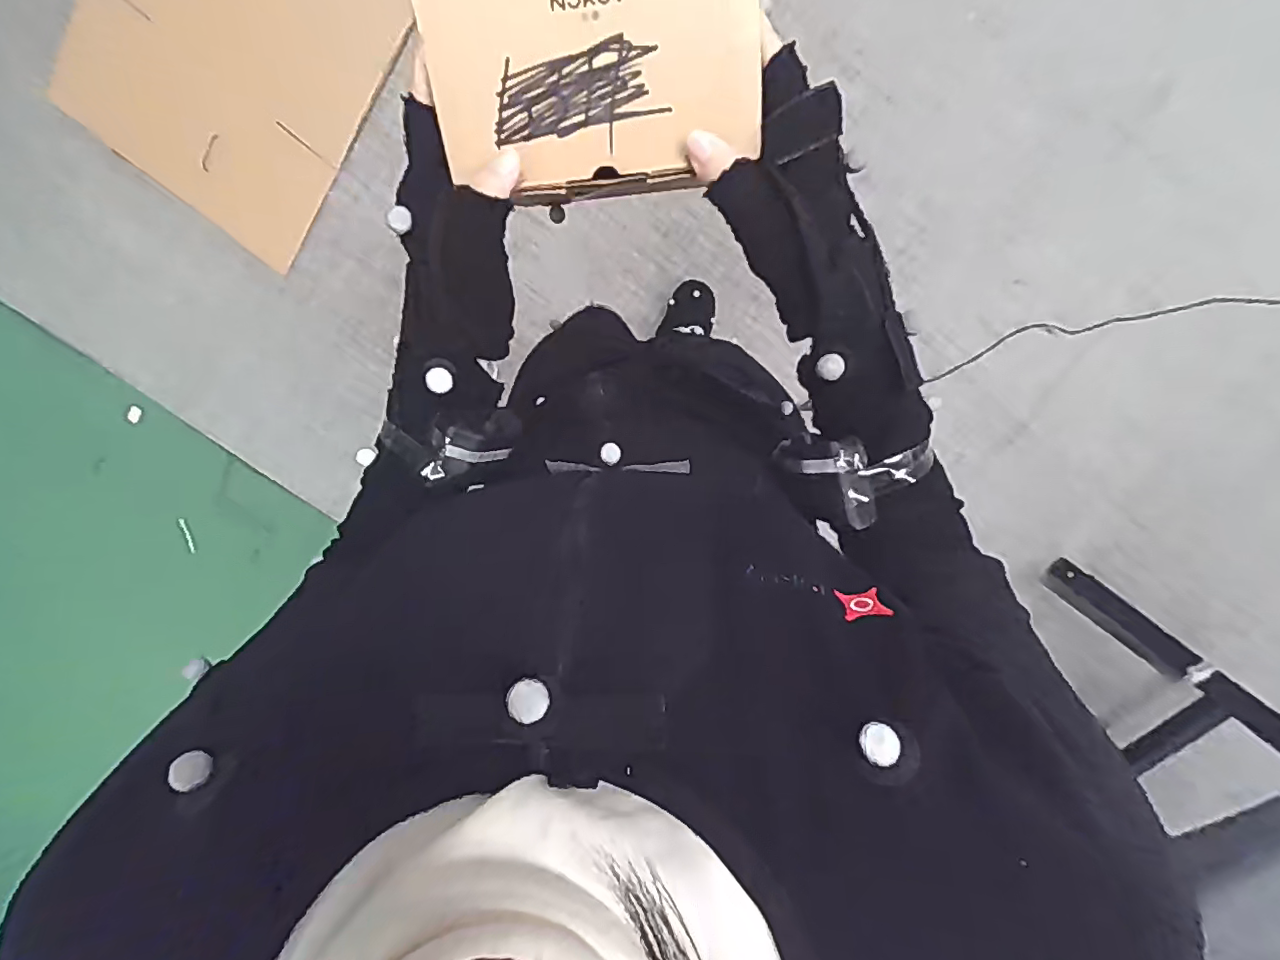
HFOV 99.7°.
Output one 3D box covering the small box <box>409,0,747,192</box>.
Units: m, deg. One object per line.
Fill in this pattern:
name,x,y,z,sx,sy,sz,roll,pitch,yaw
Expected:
small box,-0.028,-0.279,0.325,0.168,0.176,0.179,-5,114,5
